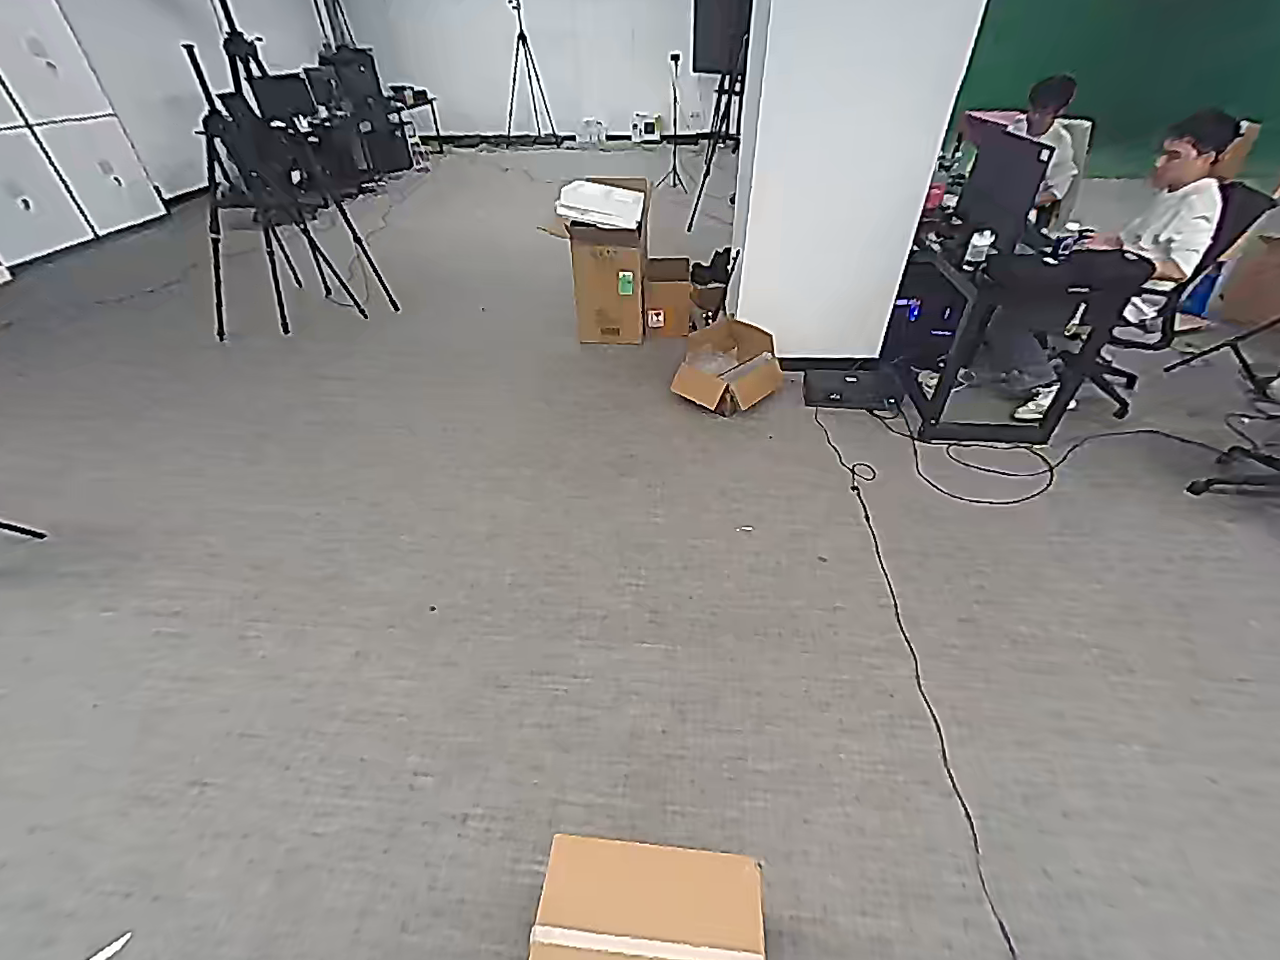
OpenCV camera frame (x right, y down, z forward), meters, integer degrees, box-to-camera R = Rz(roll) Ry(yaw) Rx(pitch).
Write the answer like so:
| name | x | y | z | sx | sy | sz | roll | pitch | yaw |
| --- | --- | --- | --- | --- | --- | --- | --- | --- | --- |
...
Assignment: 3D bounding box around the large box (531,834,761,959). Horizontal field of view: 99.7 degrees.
| name | x | y | z | sx | sy | sz | roll | pitch | yaw |
| --- | --- | --- | --- | --- | --- | --- | --- | --- | --- |
| large box | 0.010 | 0.928 | 1.037 | 0.408 | 0.320 | 0.320 | 4 | 40 | 4 |
